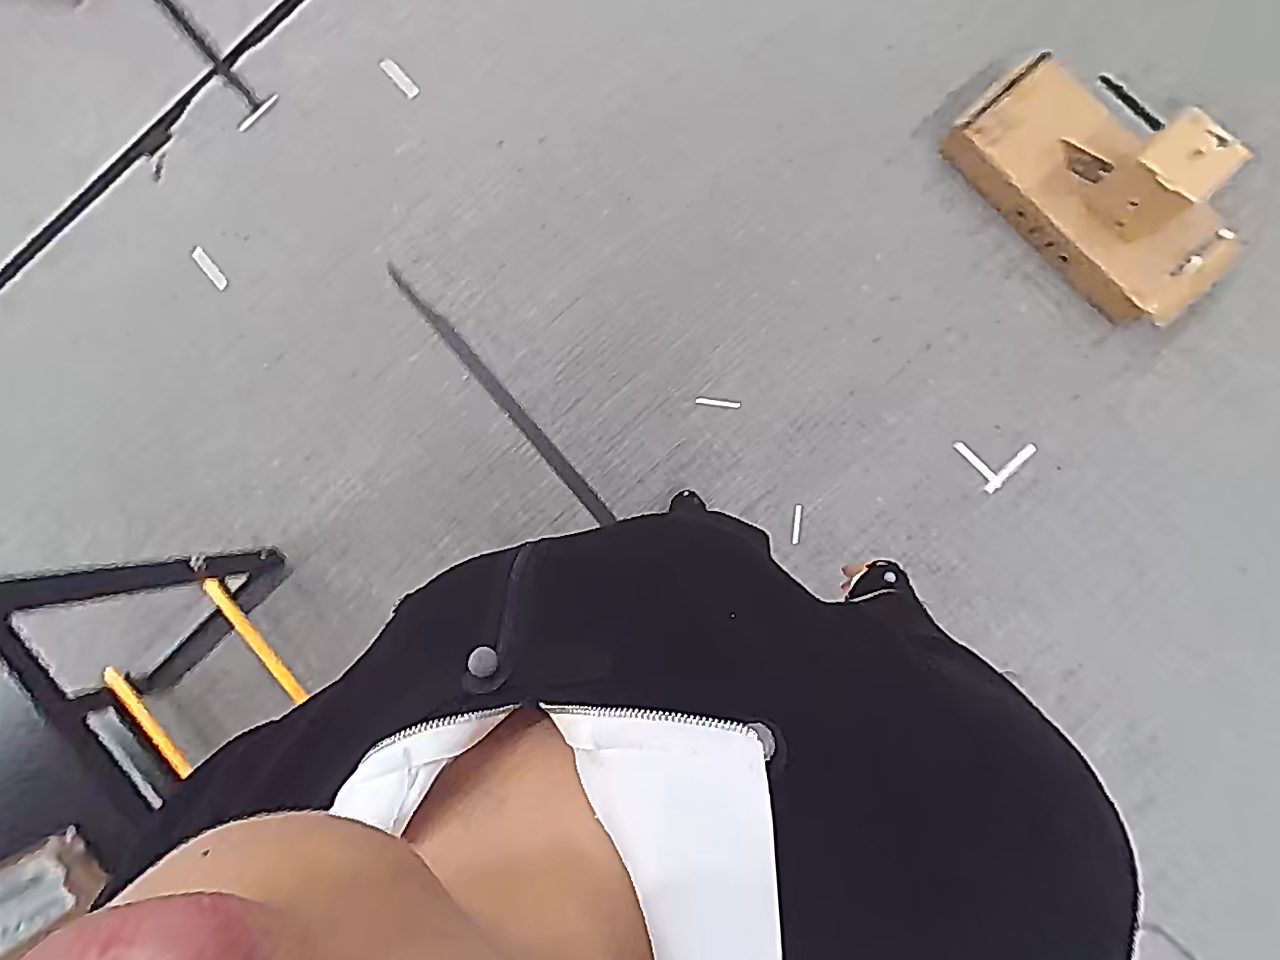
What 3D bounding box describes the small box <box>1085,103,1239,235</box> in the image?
[{"bbox_3d":[1.223,-0.728,1.289,0.179,0.176,0.168,-44,86,1],"label":"small box"}]
